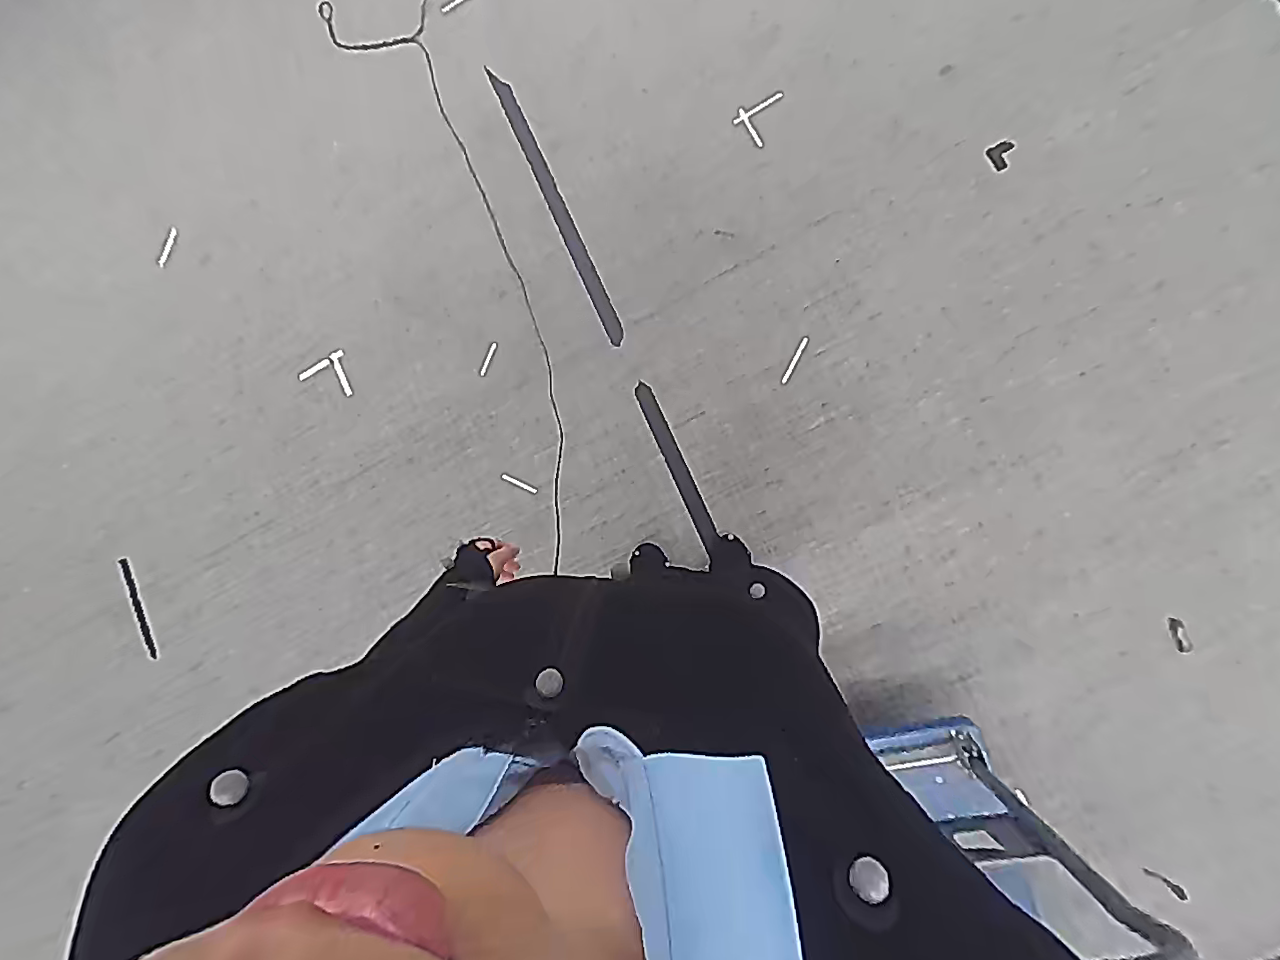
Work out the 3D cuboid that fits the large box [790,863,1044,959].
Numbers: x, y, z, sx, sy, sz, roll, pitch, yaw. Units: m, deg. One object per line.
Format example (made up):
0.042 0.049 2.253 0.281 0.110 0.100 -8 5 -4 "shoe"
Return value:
0.537 1.002 1.029 0.408 0.320 0.320 -14 84 8 "large box"
